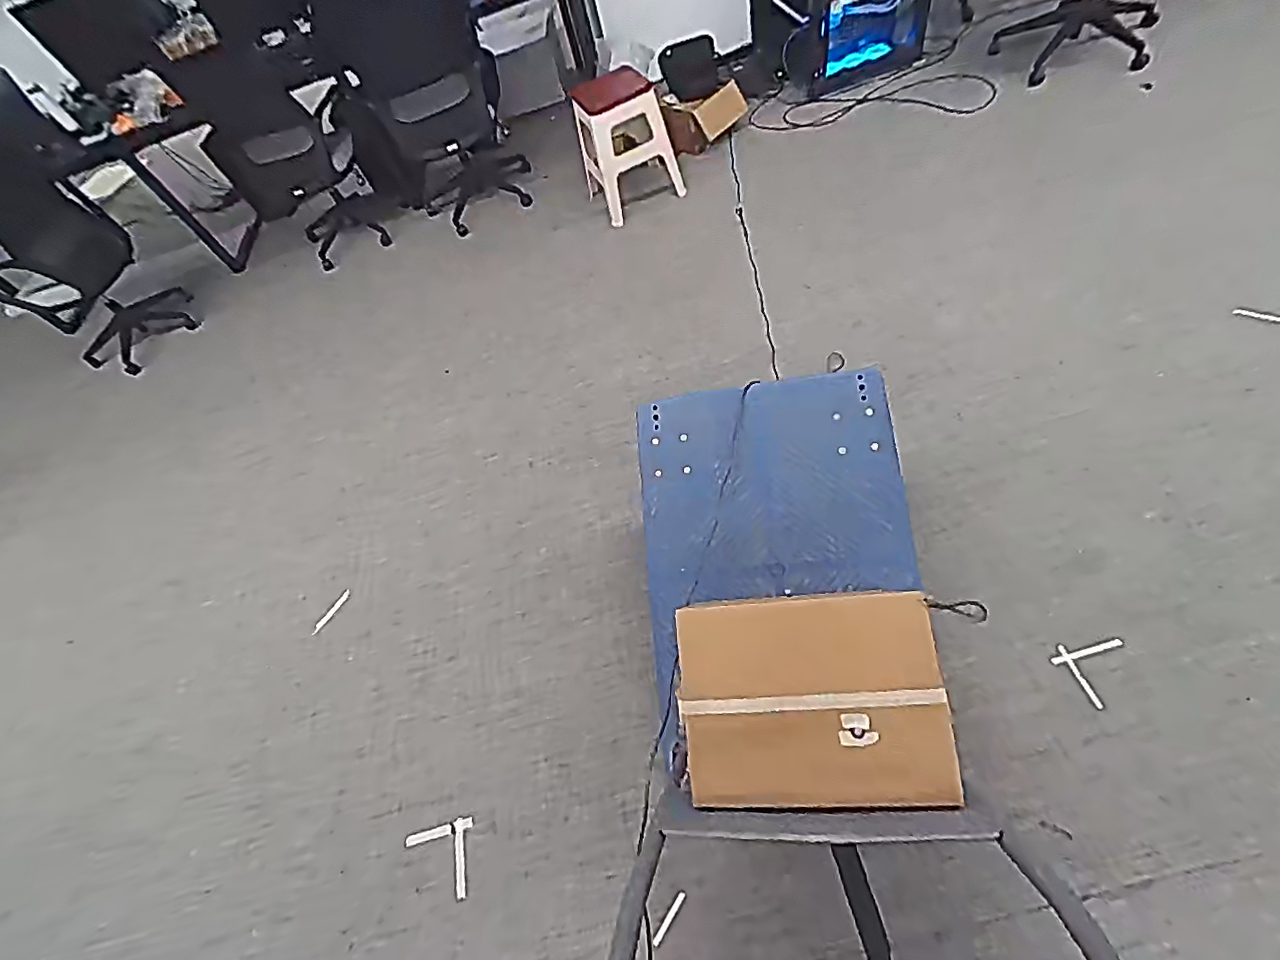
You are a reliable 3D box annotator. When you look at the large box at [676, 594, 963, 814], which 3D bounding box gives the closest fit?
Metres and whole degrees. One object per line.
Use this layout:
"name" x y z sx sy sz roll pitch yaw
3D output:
"large box" 0.296 0.385 1.000 0.408 0.320 0.320 -7 79 10
